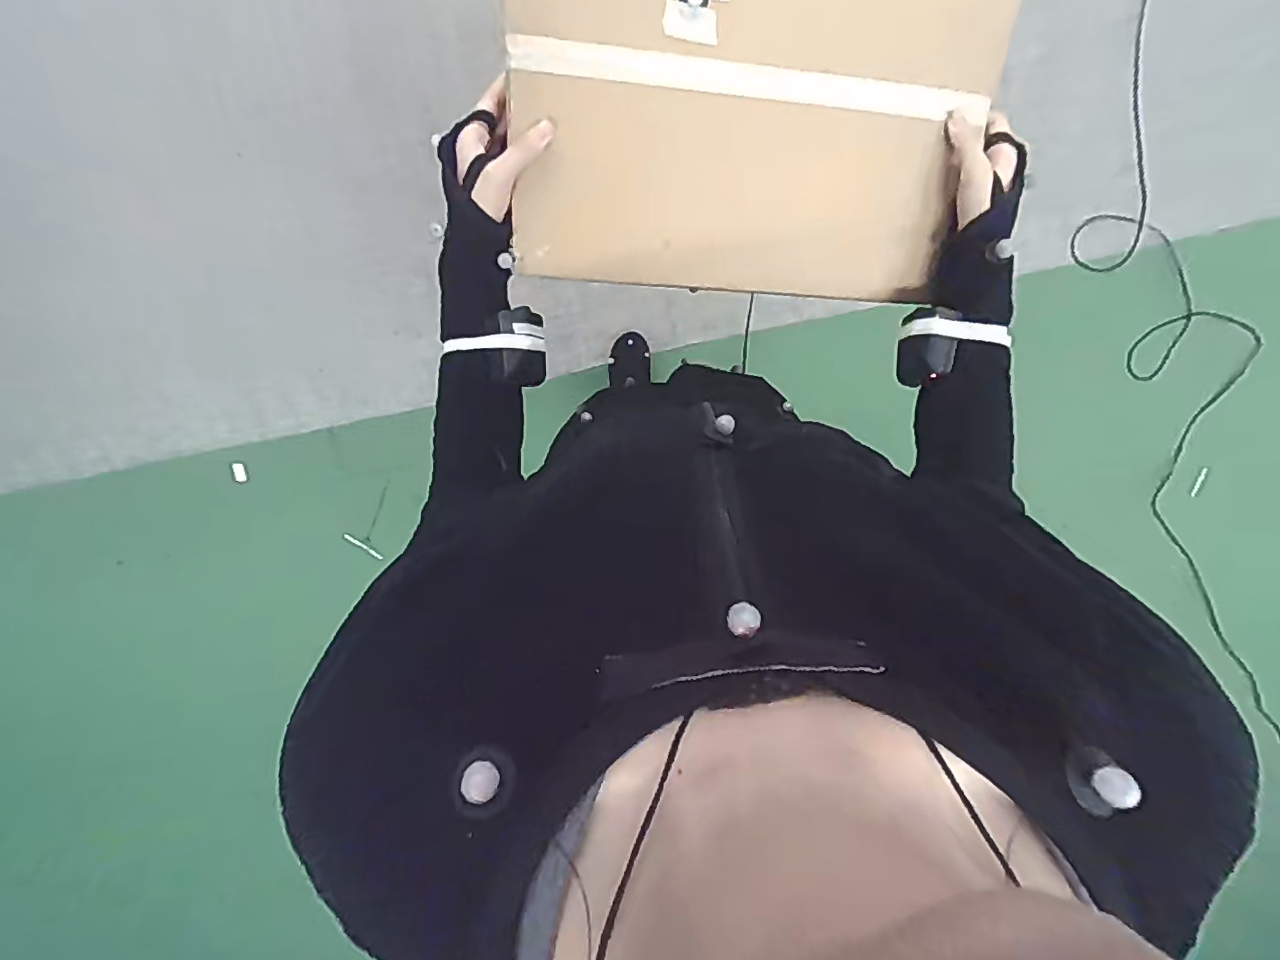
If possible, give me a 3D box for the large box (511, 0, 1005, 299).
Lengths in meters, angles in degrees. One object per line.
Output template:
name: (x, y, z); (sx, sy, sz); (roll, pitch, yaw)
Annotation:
large box: (0.080, -0.389, 0.584); (0.408, 0.320, 0.320); (2, 115, -8)
